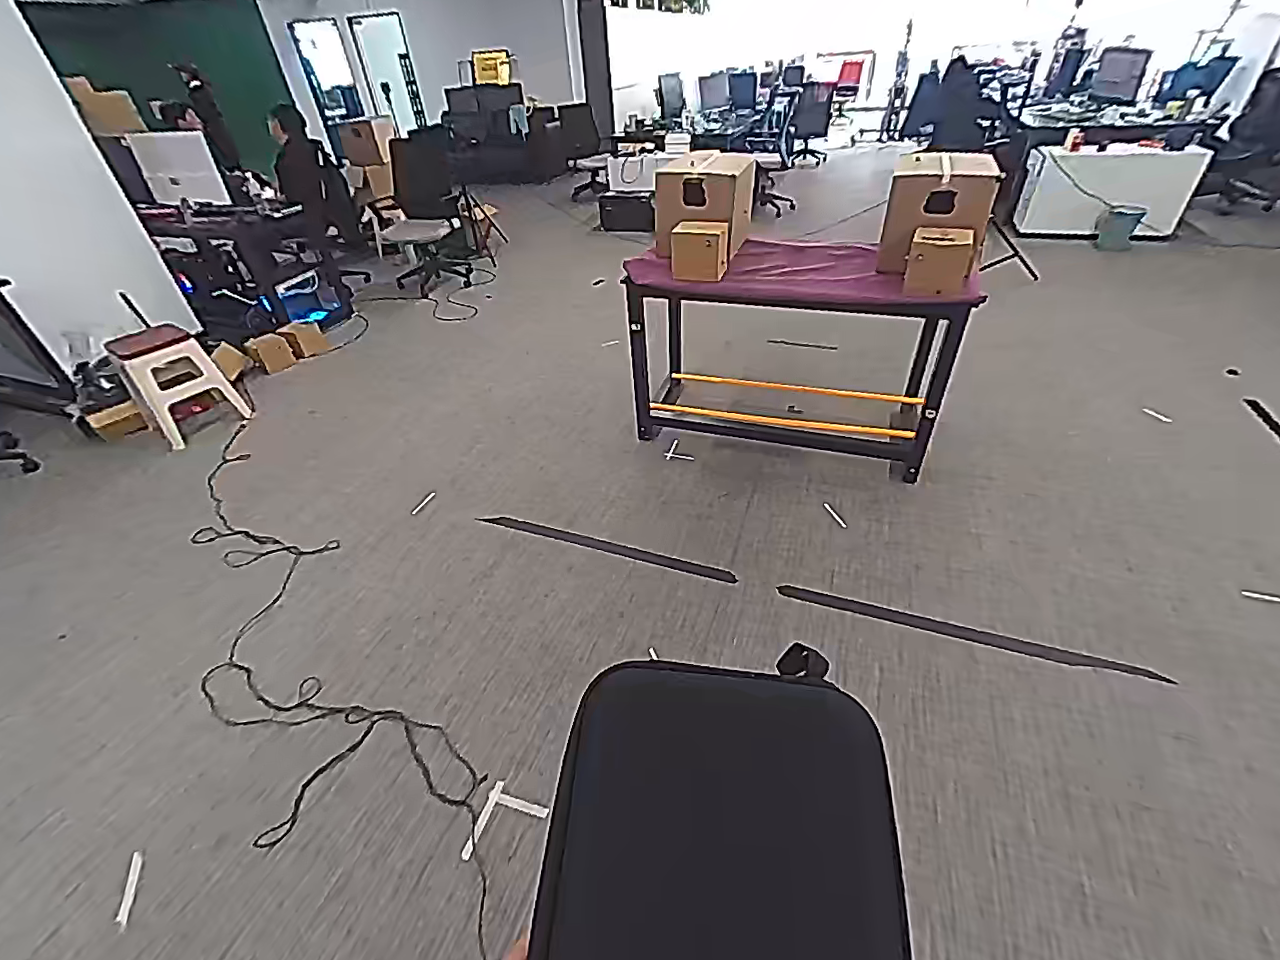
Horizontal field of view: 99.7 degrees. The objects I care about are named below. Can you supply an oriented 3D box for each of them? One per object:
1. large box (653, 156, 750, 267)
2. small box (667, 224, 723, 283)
[{"bbox_3d":[0.254,-1.104,2.211,0.320,0.320,0.408,10,43,16],"label":"large box"},{"bbox_3d":[0.203,-0.837,1.993,0.179,0.176,0.168,9,39,15],"label":"small box"}]
